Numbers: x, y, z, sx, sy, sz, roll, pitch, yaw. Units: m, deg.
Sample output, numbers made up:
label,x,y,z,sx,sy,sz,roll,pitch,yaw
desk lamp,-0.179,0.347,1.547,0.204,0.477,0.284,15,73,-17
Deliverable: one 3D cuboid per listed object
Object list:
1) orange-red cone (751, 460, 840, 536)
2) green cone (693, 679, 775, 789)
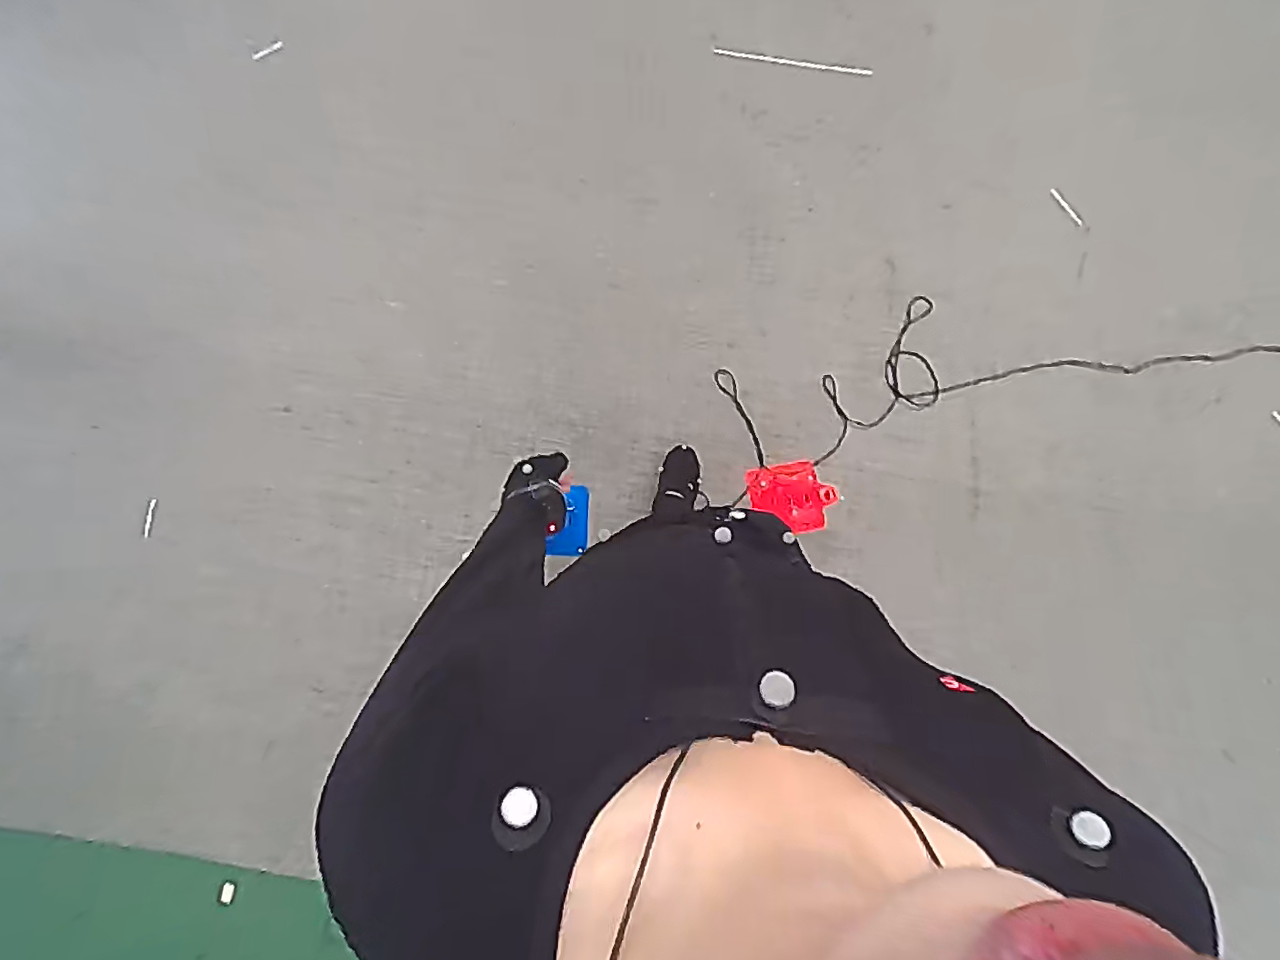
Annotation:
label,x,y,z,sx,sy,sz,roll,pitch,yaw
orange-red cone,0.417,0.042,1.341,0.198,0.360,0.199,-9,88,0
green cone,0.257,0.641,1.297,0.200,0.368,0.202,12,85,0
